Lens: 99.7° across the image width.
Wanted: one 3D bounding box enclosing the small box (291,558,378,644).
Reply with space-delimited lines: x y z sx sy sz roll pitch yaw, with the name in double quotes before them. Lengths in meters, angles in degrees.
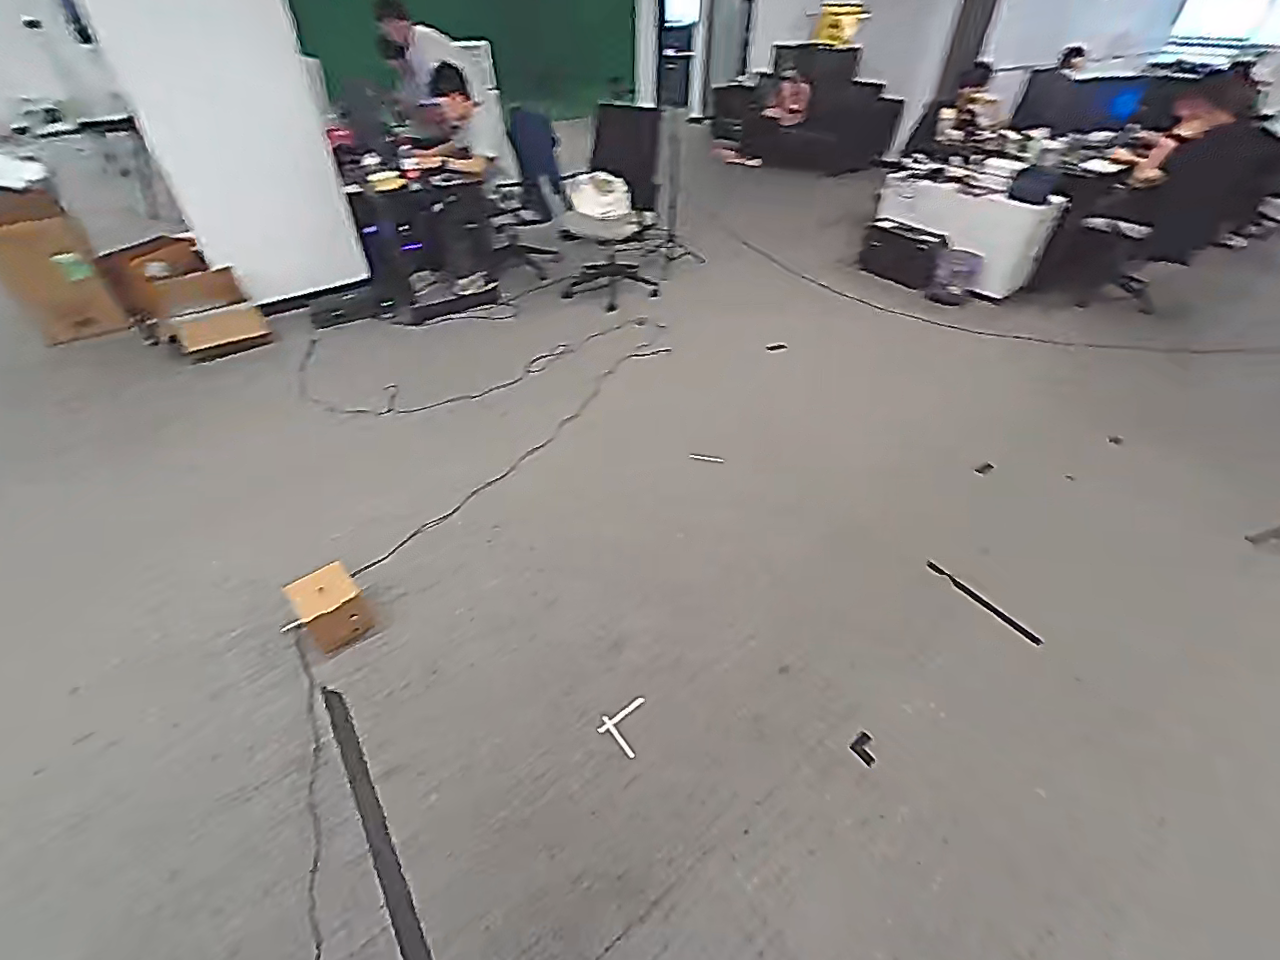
"small box" -0.953 0.386 1.699 0.168 0.176 0.179 -29 49 -30
